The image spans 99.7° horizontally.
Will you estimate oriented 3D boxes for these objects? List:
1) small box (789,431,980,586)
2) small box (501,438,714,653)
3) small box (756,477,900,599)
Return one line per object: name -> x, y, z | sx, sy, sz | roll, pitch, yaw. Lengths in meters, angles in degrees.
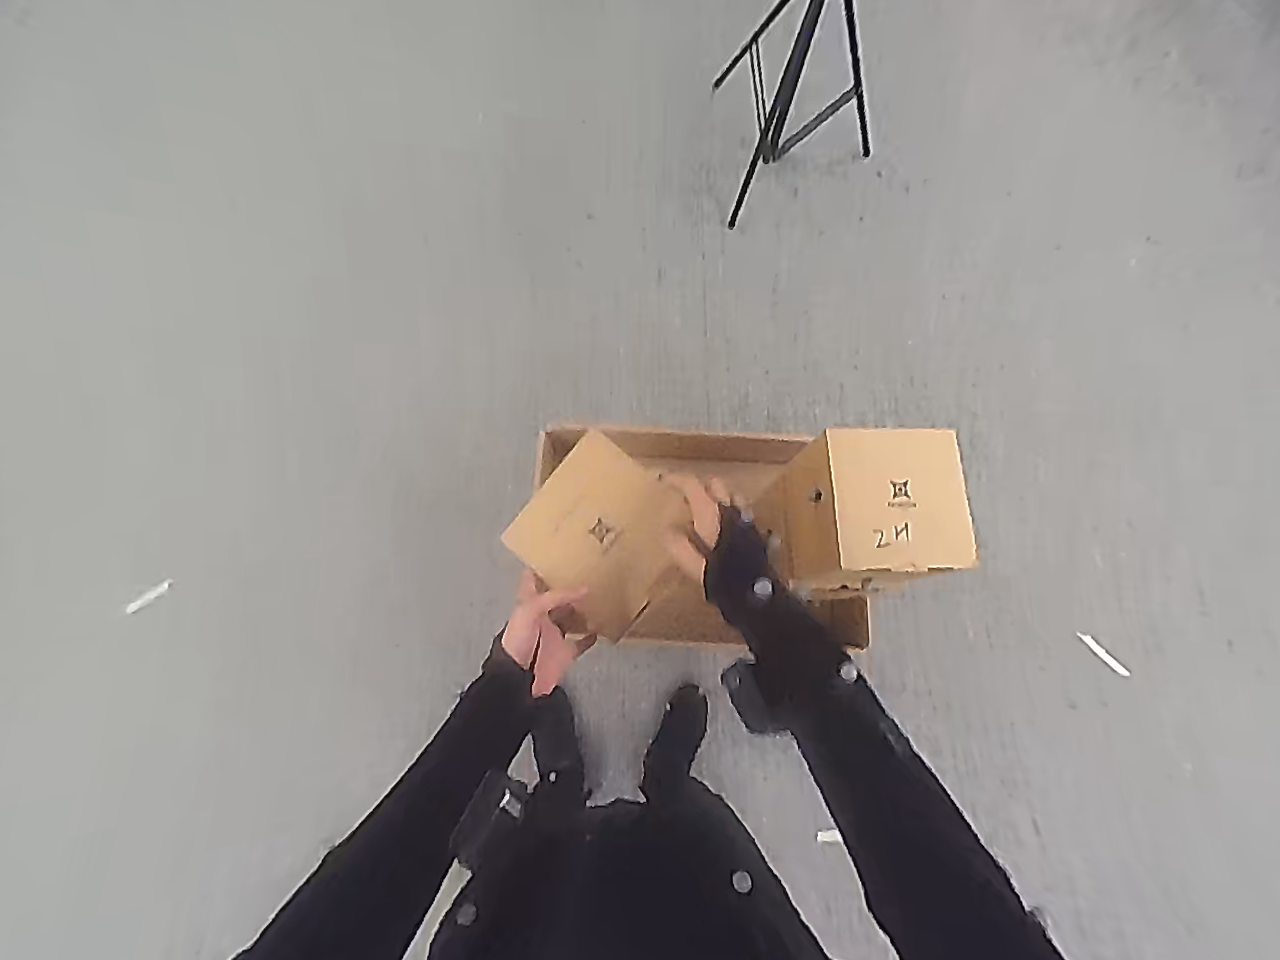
small box -> 0.306, 0.045, 0.716 | 0.168, 0.176, 0.179 | 0, 76, -3
small box -> -0.026, 0.073, 0.655 | 0.179, 0.176, 0.168 | 42, 92, 9
small box -> 0.291, 0.100, 0.872 | 0.168, 0.176, 0.179 | 0, 75, -3
